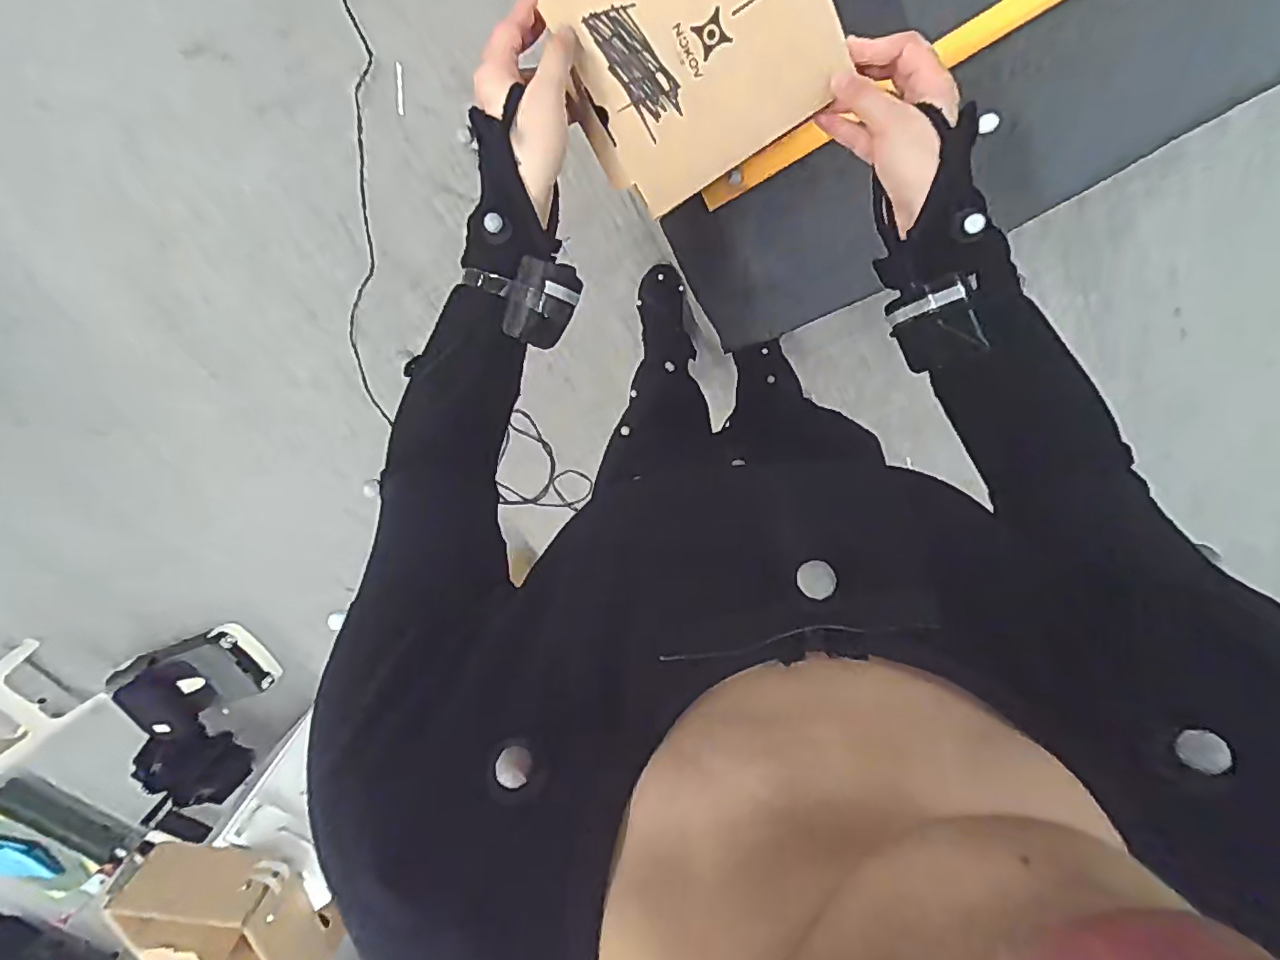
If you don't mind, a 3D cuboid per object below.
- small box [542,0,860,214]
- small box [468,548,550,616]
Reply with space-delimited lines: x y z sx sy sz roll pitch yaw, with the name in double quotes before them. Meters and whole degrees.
"small box" 0.049 -0.349 0.452 0.179 0.176 0.168 -28 114 17
"small box" -0.402 0.344 1.704 0.179 0.176 0.168 -28 113 19
